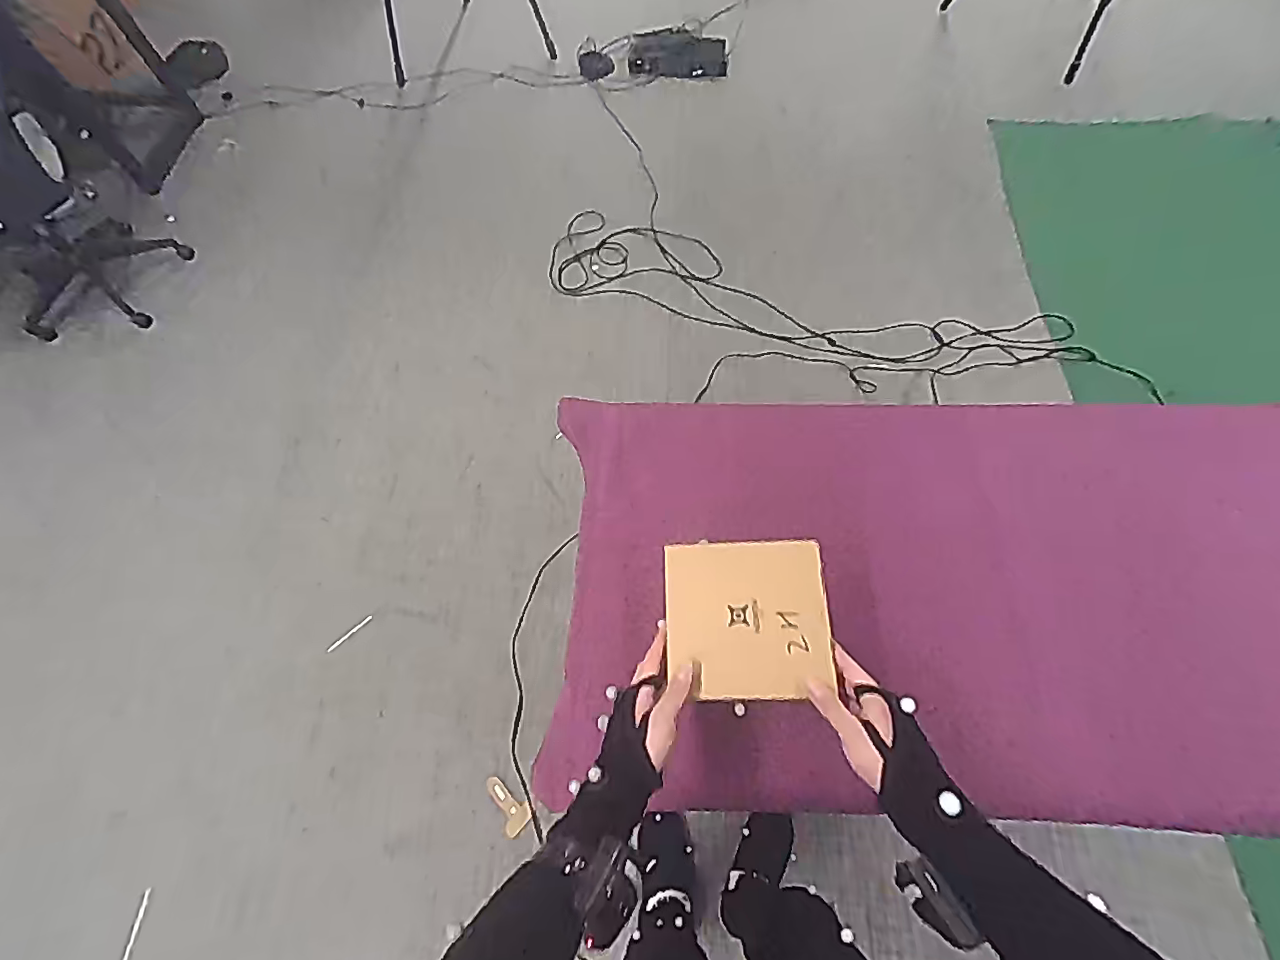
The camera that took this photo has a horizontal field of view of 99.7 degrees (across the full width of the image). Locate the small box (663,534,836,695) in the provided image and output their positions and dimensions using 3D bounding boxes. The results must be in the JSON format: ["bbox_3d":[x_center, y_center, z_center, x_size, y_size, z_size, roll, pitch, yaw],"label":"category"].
[{"bbox_3d":[0.122,0.169,0.654,0.179,0.176,0.168,-2,67,6],"label":"small box"}]
